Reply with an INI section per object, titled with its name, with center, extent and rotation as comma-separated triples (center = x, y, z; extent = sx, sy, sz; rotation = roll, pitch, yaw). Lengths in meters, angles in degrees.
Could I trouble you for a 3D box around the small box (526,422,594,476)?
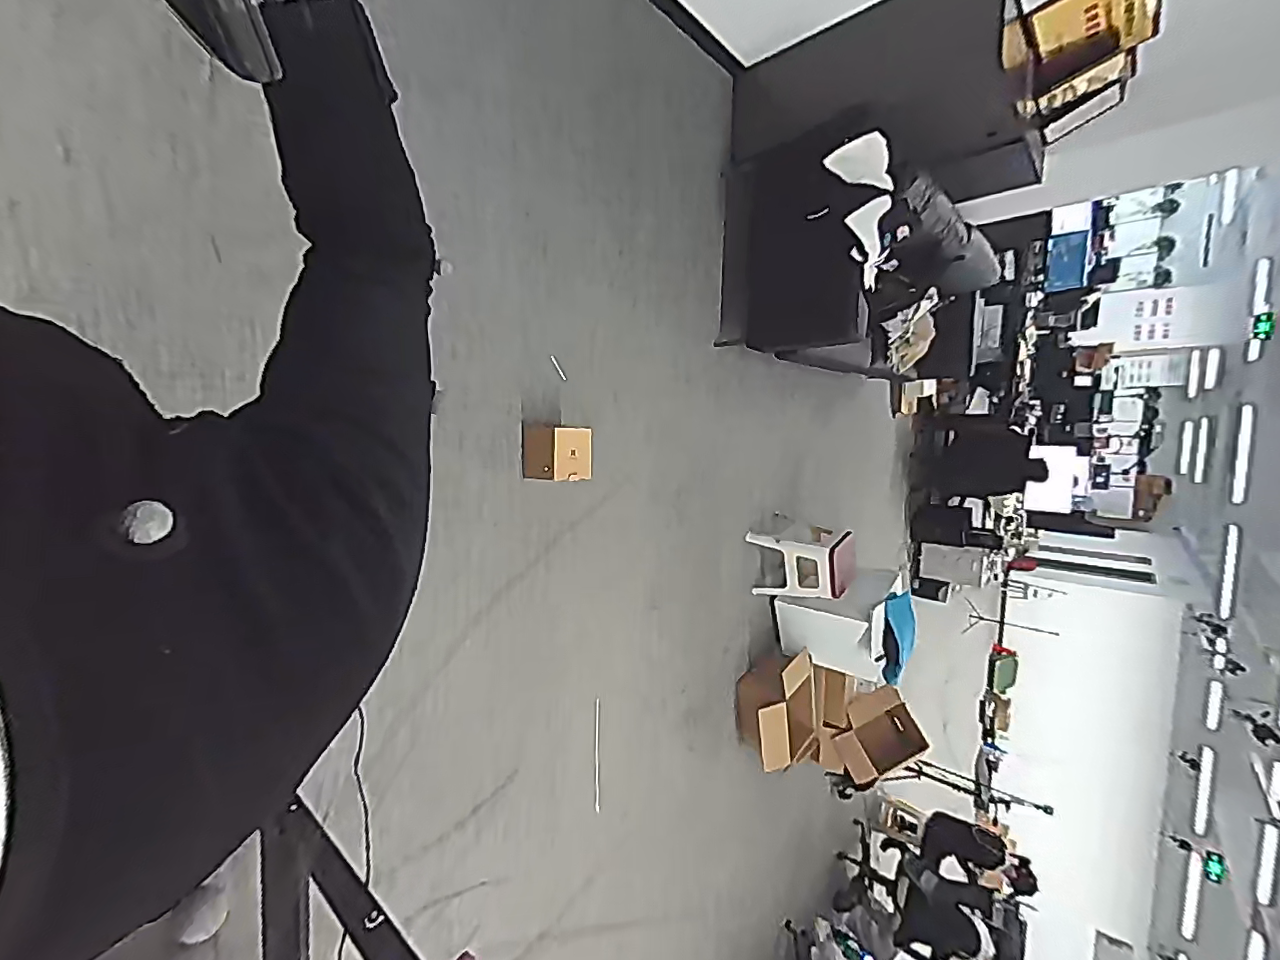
[small box]
center = -0.274, -0.108, 1.844
extent = 0.168, 0.176, 0.179
rotation = -4, 98, -48
